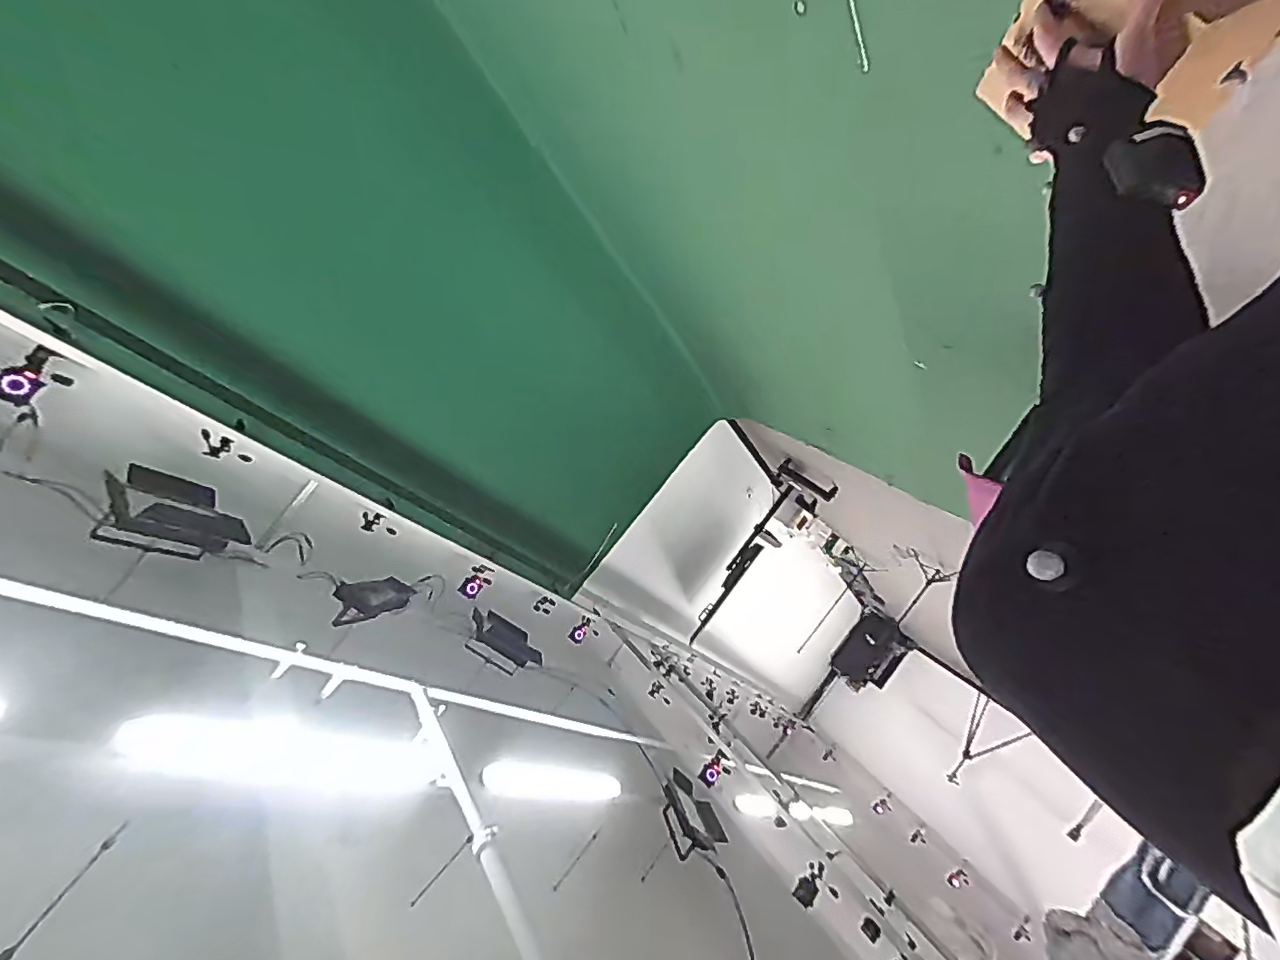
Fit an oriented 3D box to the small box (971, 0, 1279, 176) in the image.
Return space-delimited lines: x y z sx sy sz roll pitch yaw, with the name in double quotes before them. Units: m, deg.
"small box" 0.499 -0.465 0.551 0.179 0.176 0.168 61 177 18
